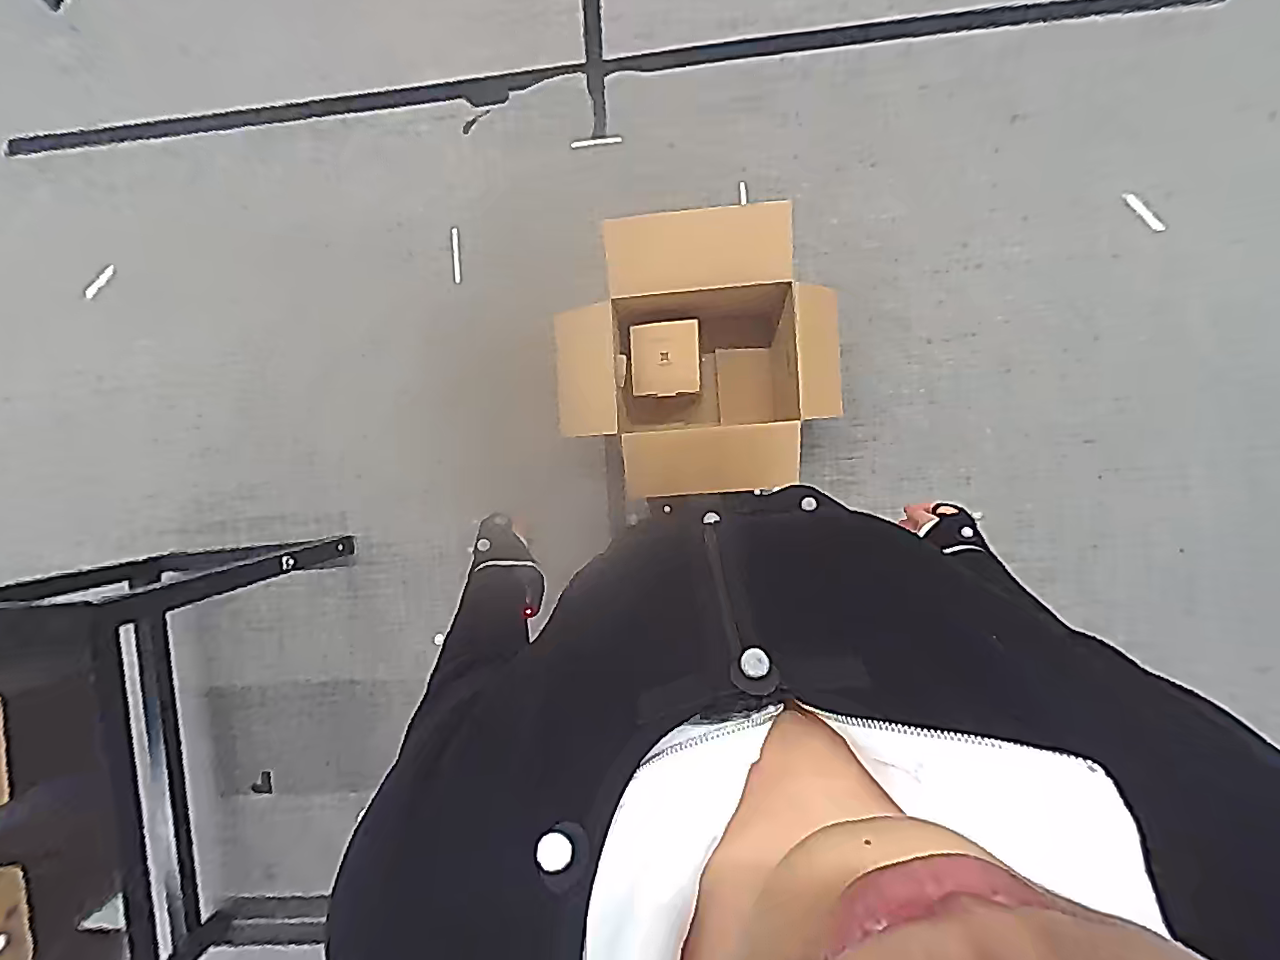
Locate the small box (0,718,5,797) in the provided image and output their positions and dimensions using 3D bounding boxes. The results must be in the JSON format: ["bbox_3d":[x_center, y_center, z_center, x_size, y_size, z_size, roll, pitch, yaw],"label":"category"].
[{"bbox_3d":[-1.112,0.437,0.799,0.168,0.176,0.179,-1,94,4],"label":"small box"}]

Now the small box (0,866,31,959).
[{"bbox_3d":[-1.096,0.718,0.812,0.179,0.176,0.168,-4,93,4],"label":"small box"}]
